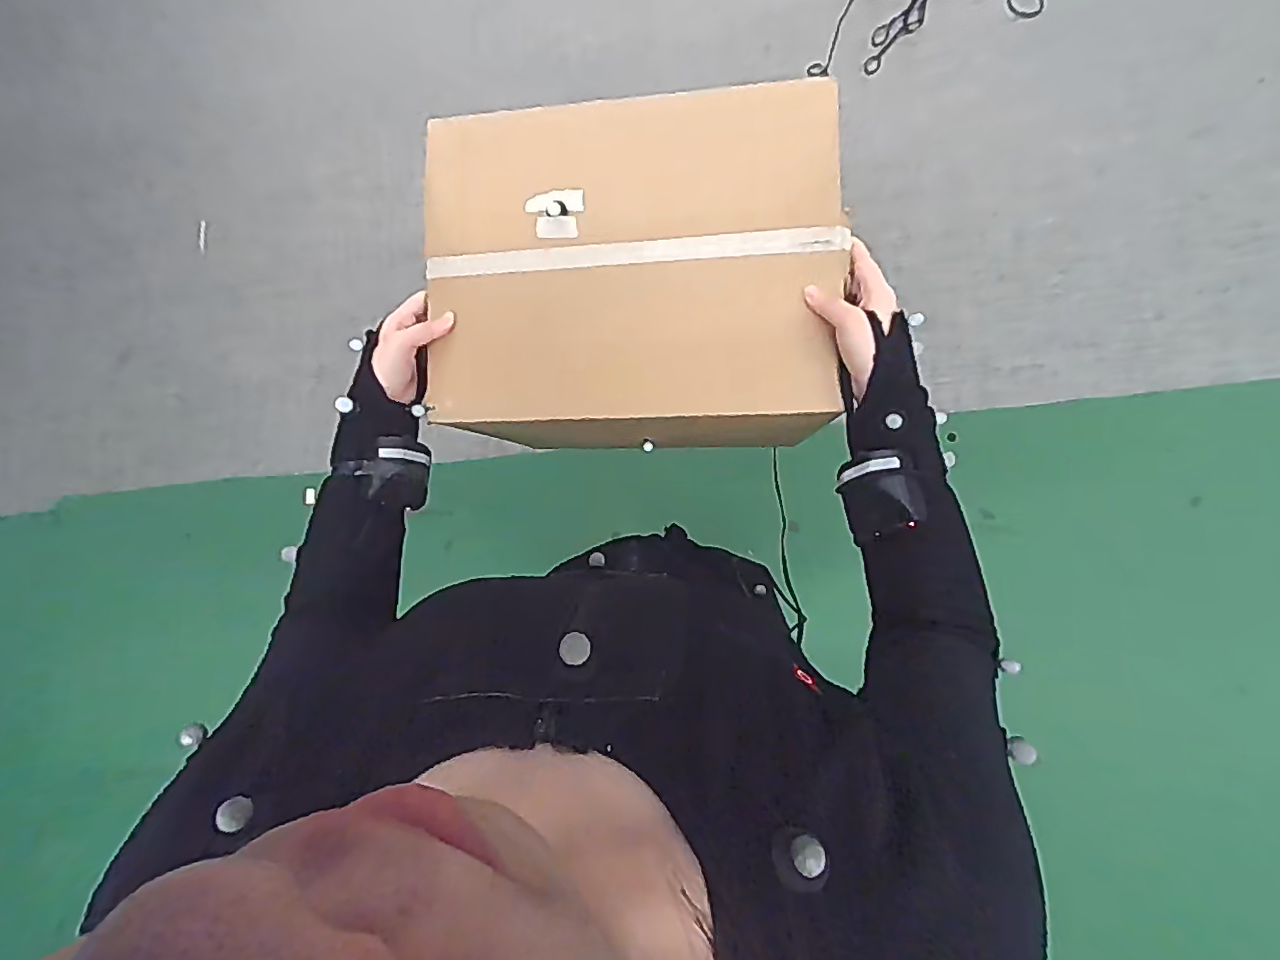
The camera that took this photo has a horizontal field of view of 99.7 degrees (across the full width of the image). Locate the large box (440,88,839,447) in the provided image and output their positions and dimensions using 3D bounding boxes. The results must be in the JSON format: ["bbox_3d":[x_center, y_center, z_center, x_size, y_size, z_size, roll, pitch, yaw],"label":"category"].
[{"bbox_3d":[0.012,-0.209,0.682,0.408,0.320,0.320,-1,88,10],"label":"large box"}]
